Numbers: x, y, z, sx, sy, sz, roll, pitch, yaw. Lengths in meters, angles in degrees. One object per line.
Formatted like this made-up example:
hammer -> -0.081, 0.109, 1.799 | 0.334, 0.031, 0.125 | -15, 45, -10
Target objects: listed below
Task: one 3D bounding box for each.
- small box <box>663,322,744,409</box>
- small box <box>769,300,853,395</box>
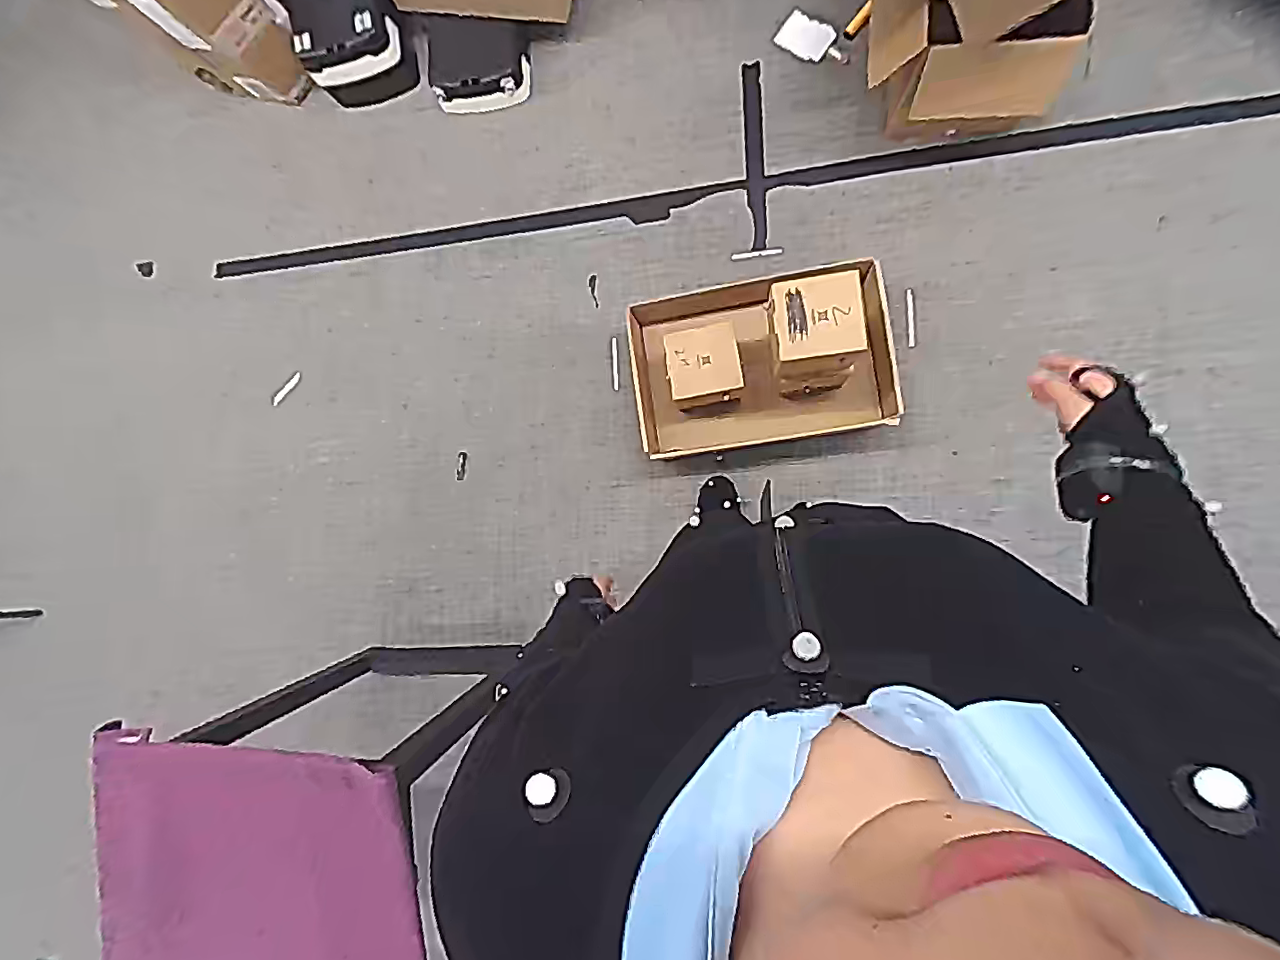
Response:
small box -> 0.162, -0.285, 1.383 | 0.179, 0.176, 0.168 | -10, 87, 8
small box -> 0.416, -0.322, 1.343 | 0.168, 0.176, 0.179 | -8, 88, 11
